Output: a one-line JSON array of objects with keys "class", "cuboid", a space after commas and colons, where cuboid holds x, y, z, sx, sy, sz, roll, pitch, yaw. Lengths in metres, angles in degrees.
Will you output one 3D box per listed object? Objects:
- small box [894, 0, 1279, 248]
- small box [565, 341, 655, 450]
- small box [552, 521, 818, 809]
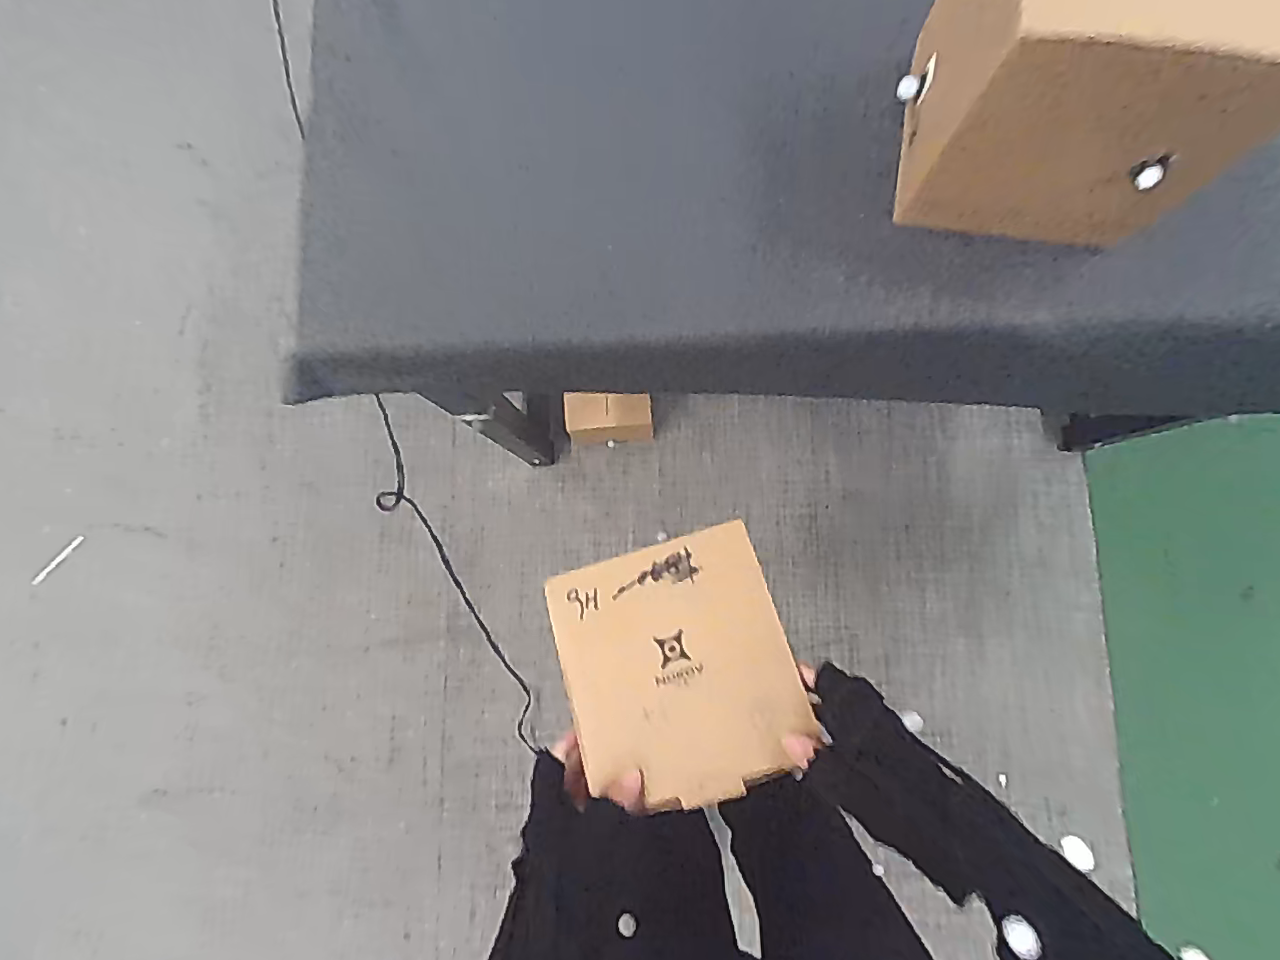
[{"class": "small box", "cuboid": [0.308, -0.288, 0.381, 0.179, 0.176, 0.168, 8, 81, 4]}, {"class": "small box", "cuboid": [-0.057, -0.167, 1.113, 0.168, 0.176, 0.179, -5, 82, 2]}, {"class": "small box", "cuboid": [0.037, 0.156, 0.482, 0.168, 0.176, 0.179, -17, 70, 1]}]
